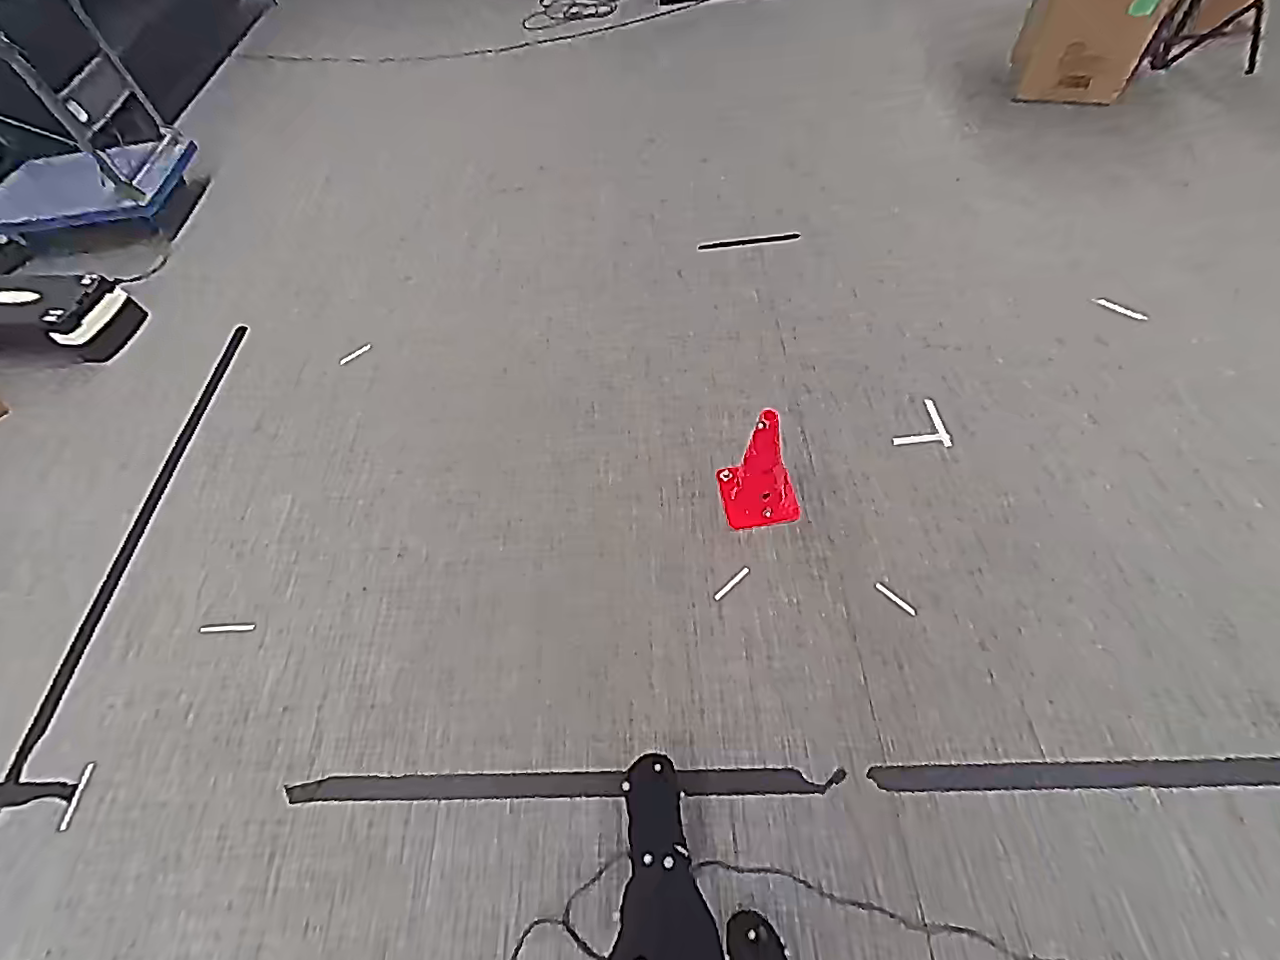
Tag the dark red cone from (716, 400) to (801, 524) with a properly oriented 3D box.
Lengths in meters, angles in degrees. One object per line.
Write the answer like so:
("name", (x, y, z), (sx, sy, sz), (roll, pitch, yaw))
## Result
("dark red cone", (0.304, -0.062, 1.342), (0.202, 0.394, 0.201), (-11, 58, 0))
